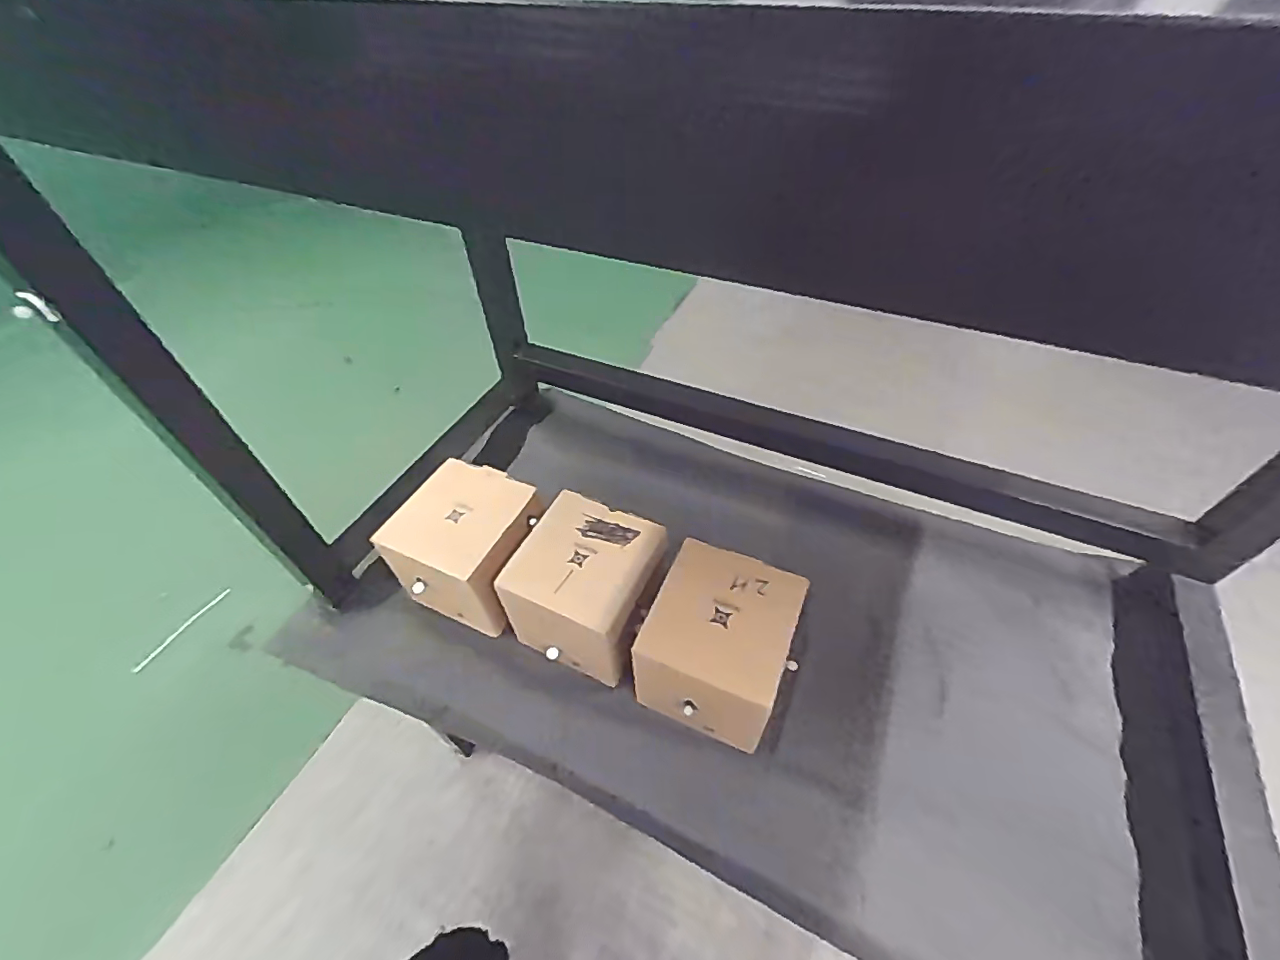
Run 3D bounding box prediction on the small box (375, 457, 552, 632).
[{"bbox_3d":[-0.250,0.100,0.819,0.168,0.176,0.179,18,51,18],"label":"small box"}]
